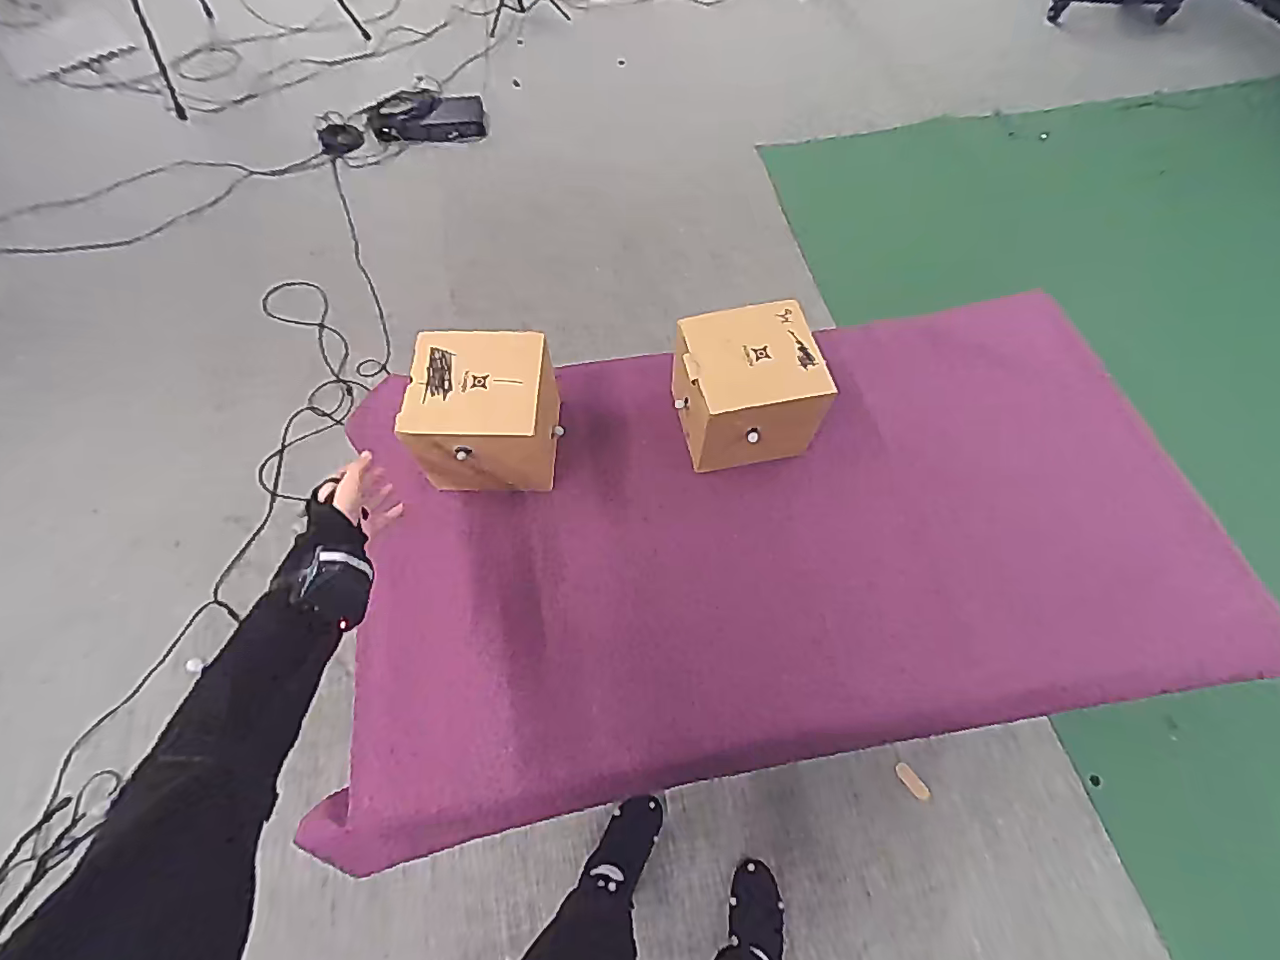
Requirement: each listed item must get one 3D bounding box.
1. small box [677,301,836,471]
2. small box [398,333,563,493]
[{"bbox_3d":[0.155,-0.129,0.792,0.179,0.176,0.168,-11,65,-5],"label":"small box"},{"bbox_3d":[-0.212,-0.089,0.772,0.179,0.176,0.168,1,64,-1],"label":"small box"}]
